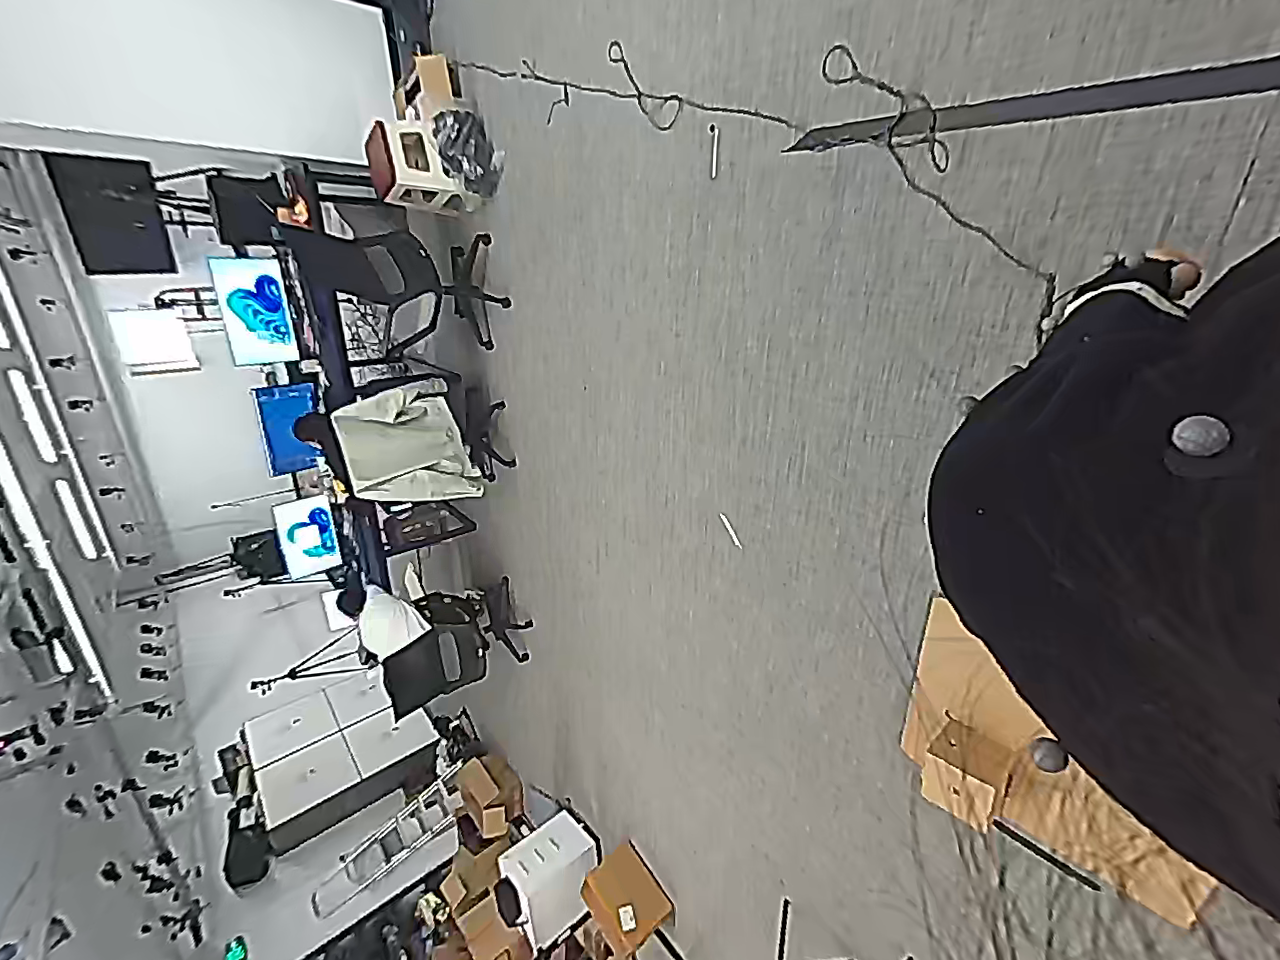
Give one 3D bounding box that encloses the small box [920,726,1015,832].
[{"bbox_3d":[0.924,0.830,1.527,0.179,0.176,0.168,16,117,46],"label":"small box"}]
